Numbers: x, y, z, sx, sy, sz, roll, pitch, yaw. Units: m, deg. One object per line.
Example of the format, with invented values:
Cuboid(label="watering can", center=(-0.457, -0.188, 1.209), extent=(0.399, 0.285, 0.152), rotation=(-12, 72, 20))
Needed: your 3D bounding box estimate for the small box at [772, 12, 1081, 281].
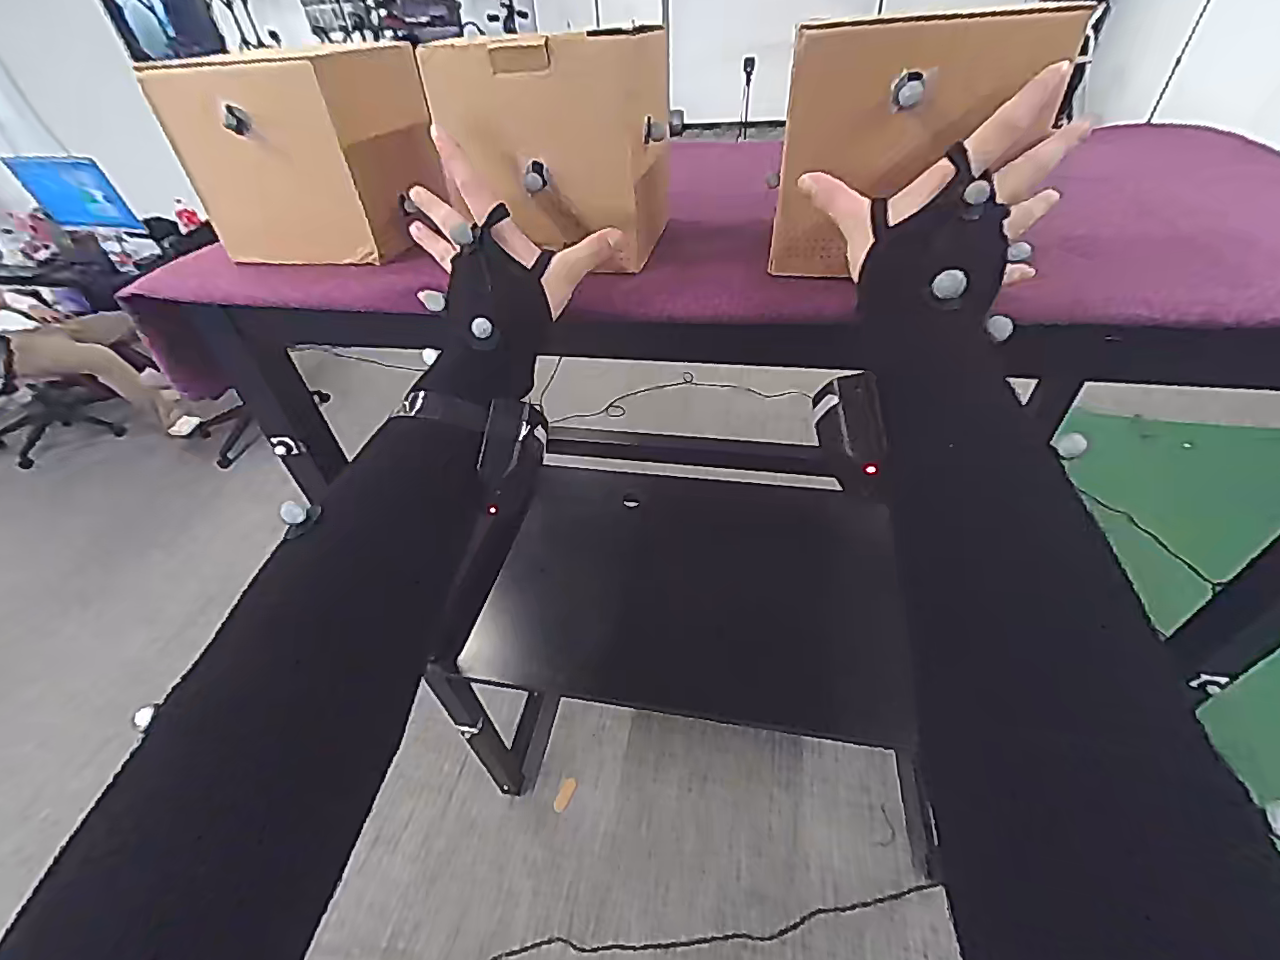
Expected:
Cuboid(label="small box", center=(0.213, -0.279, 0.460), extent=(0.179, 0.176, 0.168), rotation=(5, 41, 12))

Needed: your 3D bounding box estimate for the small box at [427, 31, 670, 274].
Cuboid(label="small box", center=(-0.064, -0.306, 0.511), extent=(0.168, 0.176, 0.179), rotation=(5, 41, 10))

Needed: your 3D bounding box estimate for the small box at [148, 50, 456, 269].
Cuboid(label="small box", center=(-0.320, -0.329, 0.557), extent=(0.179, 0.176, 0.168), rotation=(5, 42, 9))
